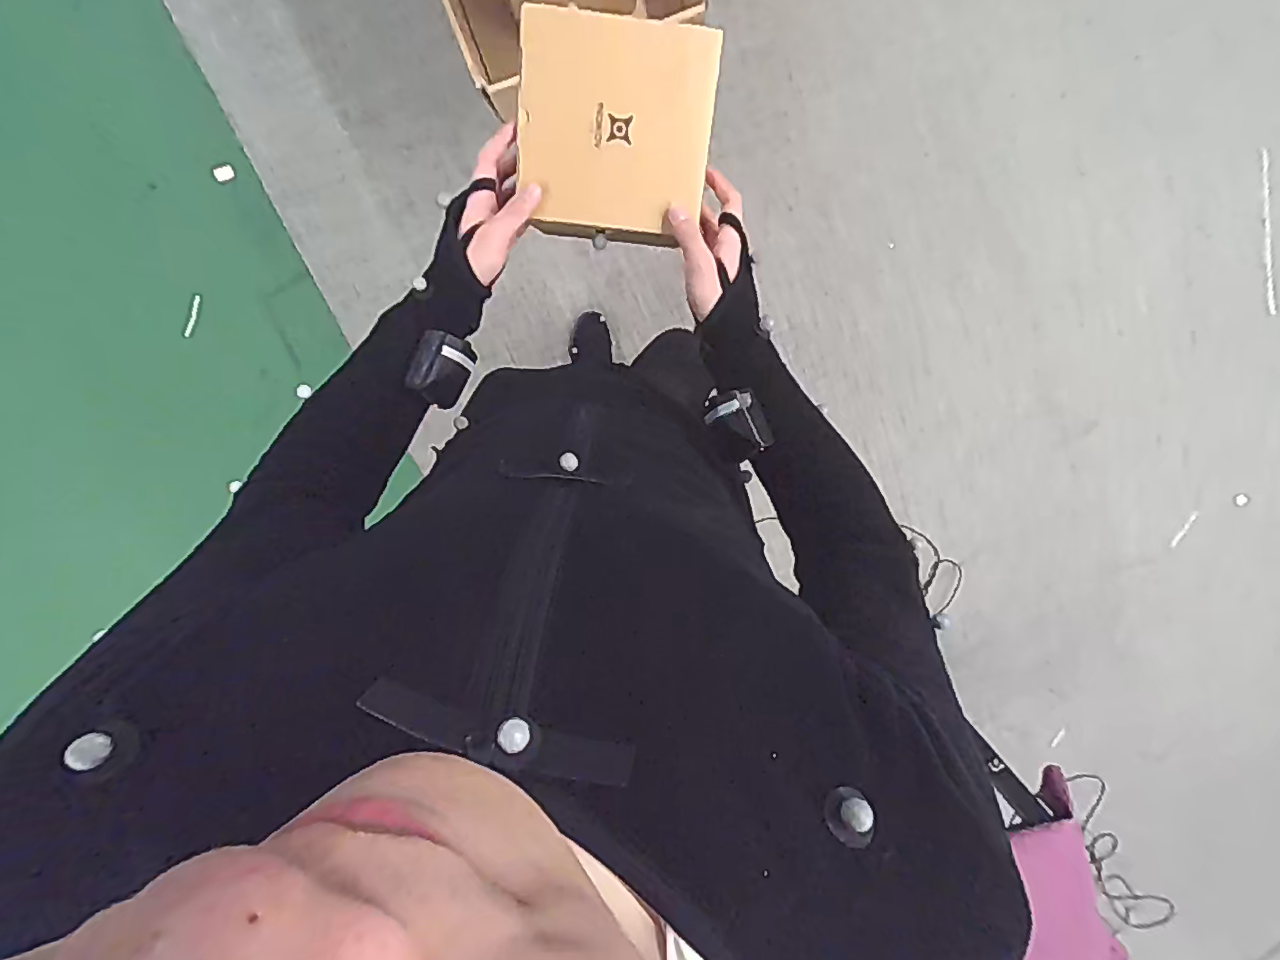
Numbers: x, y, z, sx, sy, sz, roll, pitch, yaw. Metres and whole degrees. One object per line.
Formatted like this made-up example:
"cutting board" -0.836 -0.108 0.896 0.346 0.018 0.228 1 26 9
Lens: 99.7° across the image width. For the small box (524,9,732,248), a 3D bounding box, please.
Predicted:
"small box" -0.016 -0.340 0.561 0.179 0.176 0.168 5 110 -3
